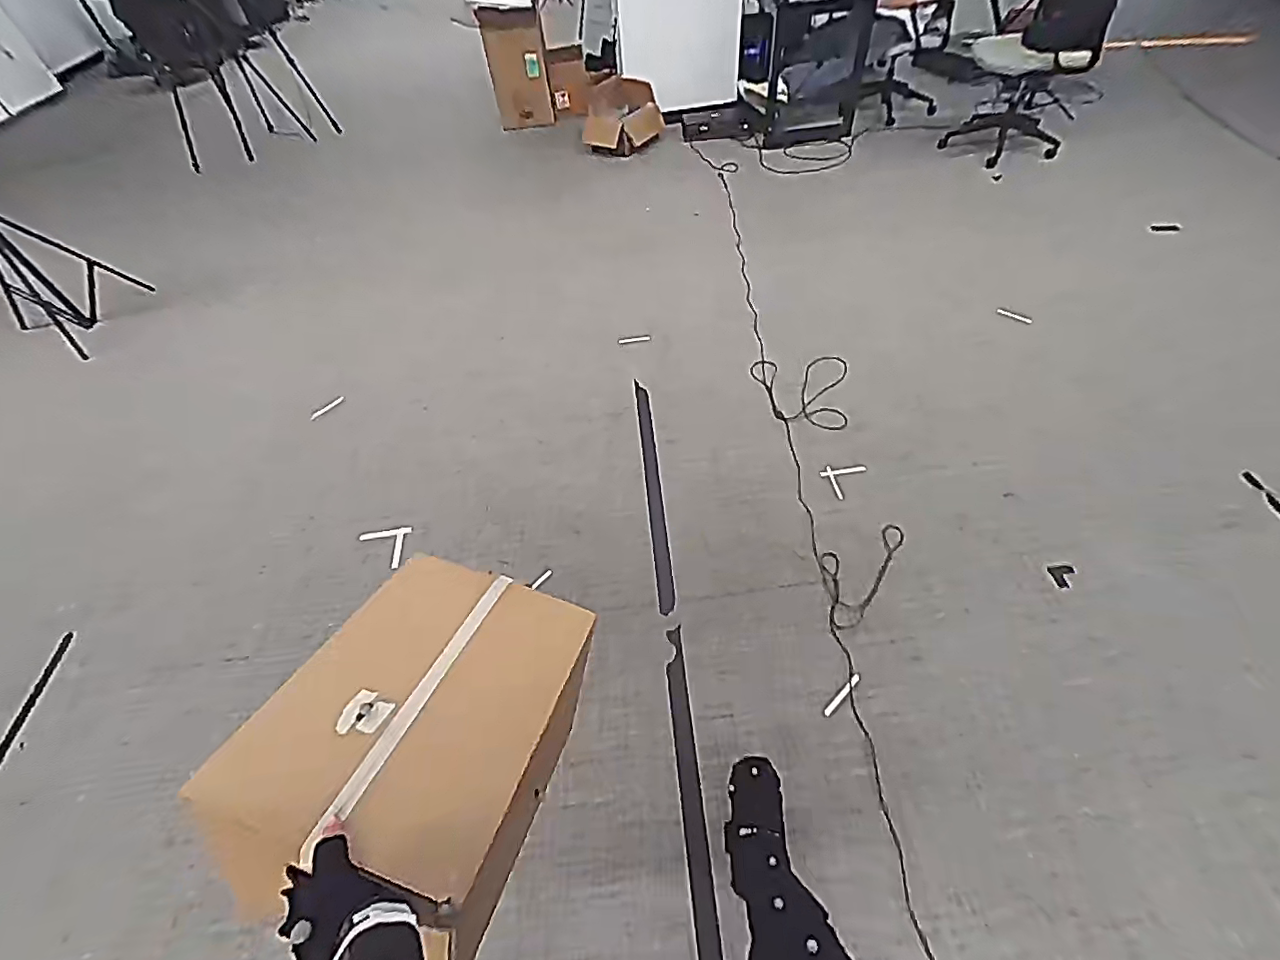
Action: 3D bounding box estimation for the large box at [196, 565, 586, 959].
[{"bbox_3d":[-0.301,0.402,0.788,0.320,0.320,0.408,16,33,6],"label":"large box"}]
